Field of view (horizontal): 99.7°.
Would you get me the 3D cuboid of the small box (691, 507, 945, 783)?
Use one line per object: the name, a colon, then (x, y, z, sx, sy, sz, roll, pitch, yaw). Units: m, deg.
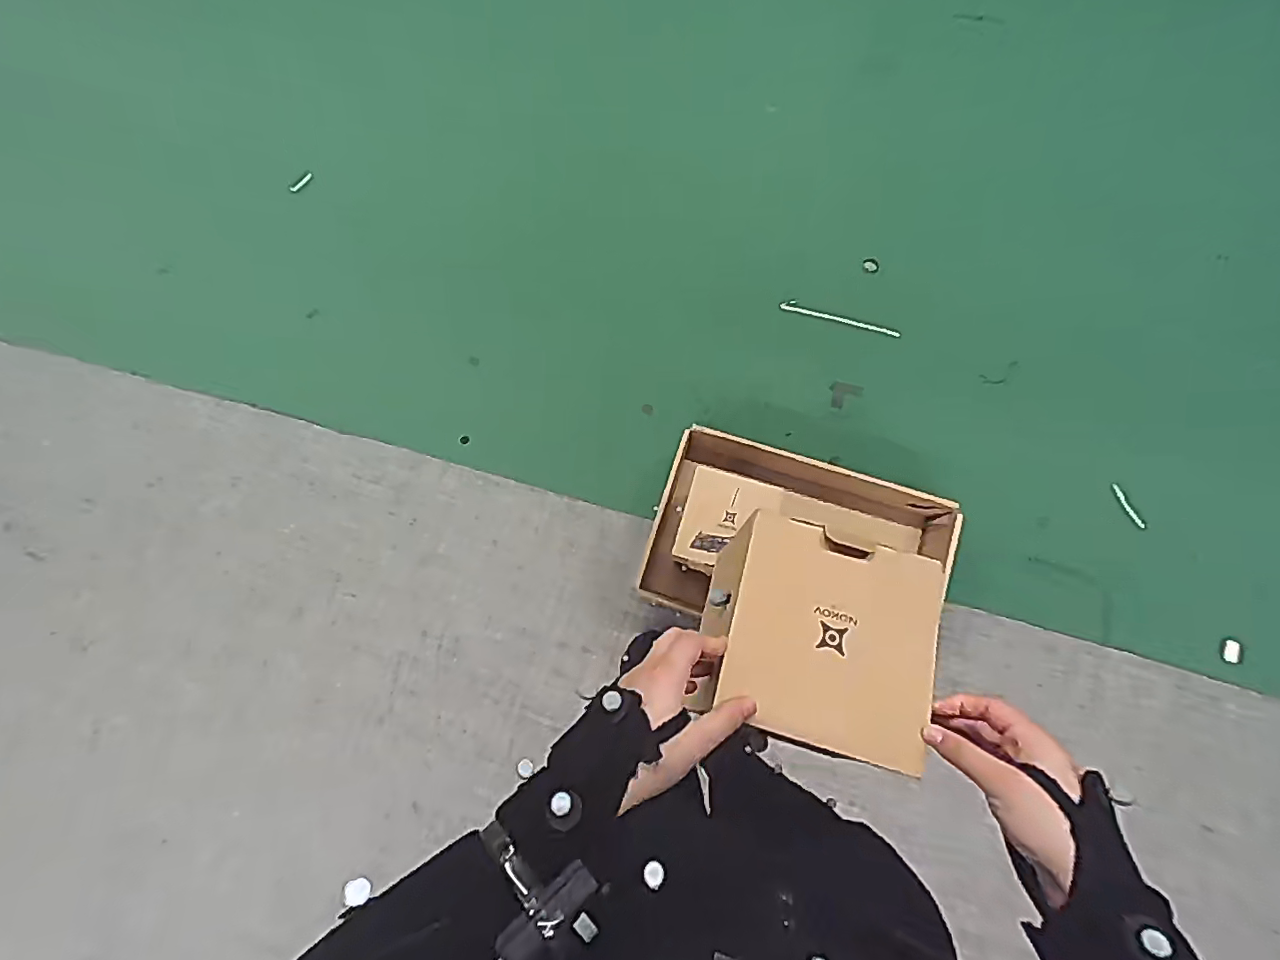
small box: (0.151, 0.152, 0.504, 0.168, 0.176, 0.179, 17, 67, 3)

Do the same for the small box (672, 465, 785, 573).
small box: (0.164, 0.091, 1.044, 0.168, 0.176, 0.179, 17, 80, 5)
